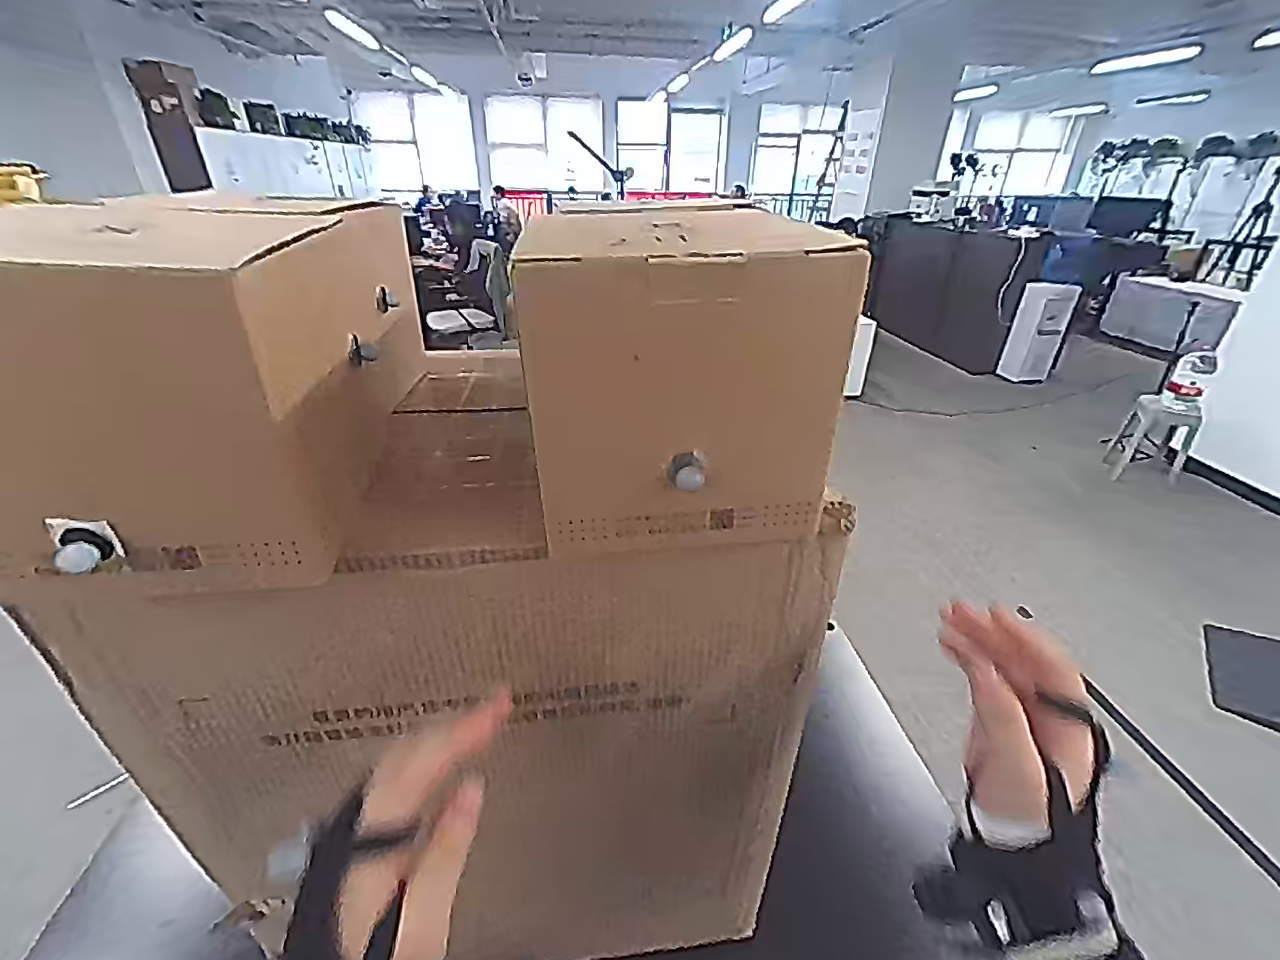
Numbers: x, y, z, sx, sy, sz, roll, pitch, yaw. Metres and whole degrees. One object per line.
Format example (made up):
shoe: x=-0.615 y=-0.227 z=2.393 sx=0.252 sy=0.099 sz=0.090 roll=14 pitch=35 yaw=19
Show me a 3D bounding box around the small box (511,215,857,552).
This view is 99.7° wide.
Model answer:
small box: x=0.015 y=-0.073 z=0.361 sx=0.168 sy=0.176 sz=0.179 roll=-5 pitch=32 yaw=-5
